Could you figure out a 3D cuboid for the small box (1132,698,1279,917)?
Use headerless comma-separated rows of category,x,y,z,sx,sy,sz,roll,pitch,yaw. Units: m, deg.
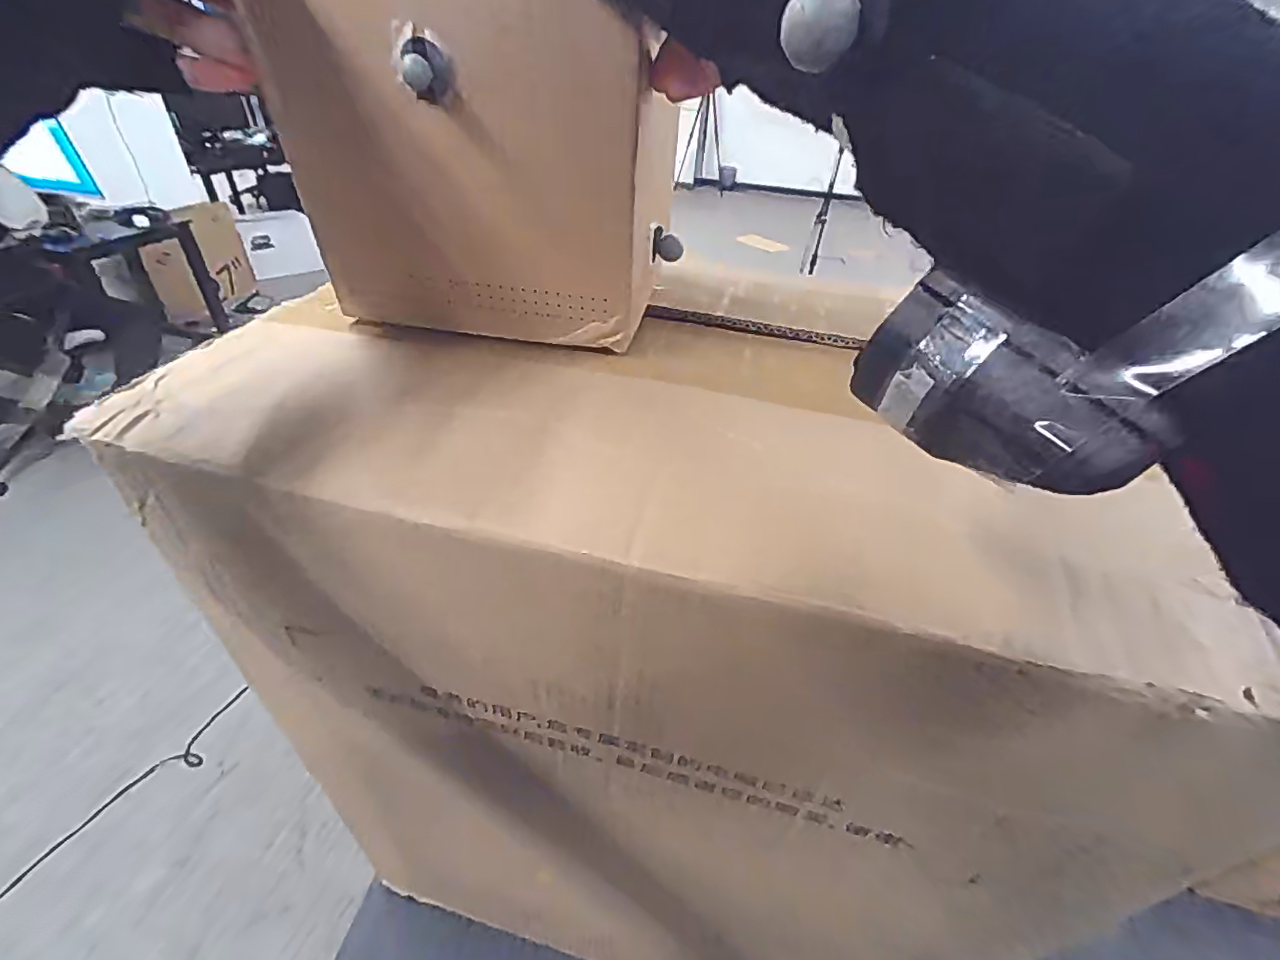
small box,0.790,0.419,0.686,0.168,0.176,0.179,13,40,10

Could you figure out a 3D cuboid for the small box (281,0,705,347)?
small box,-0.063,-0.197,0.320,0.179,0.176,0.168,9,46,4
